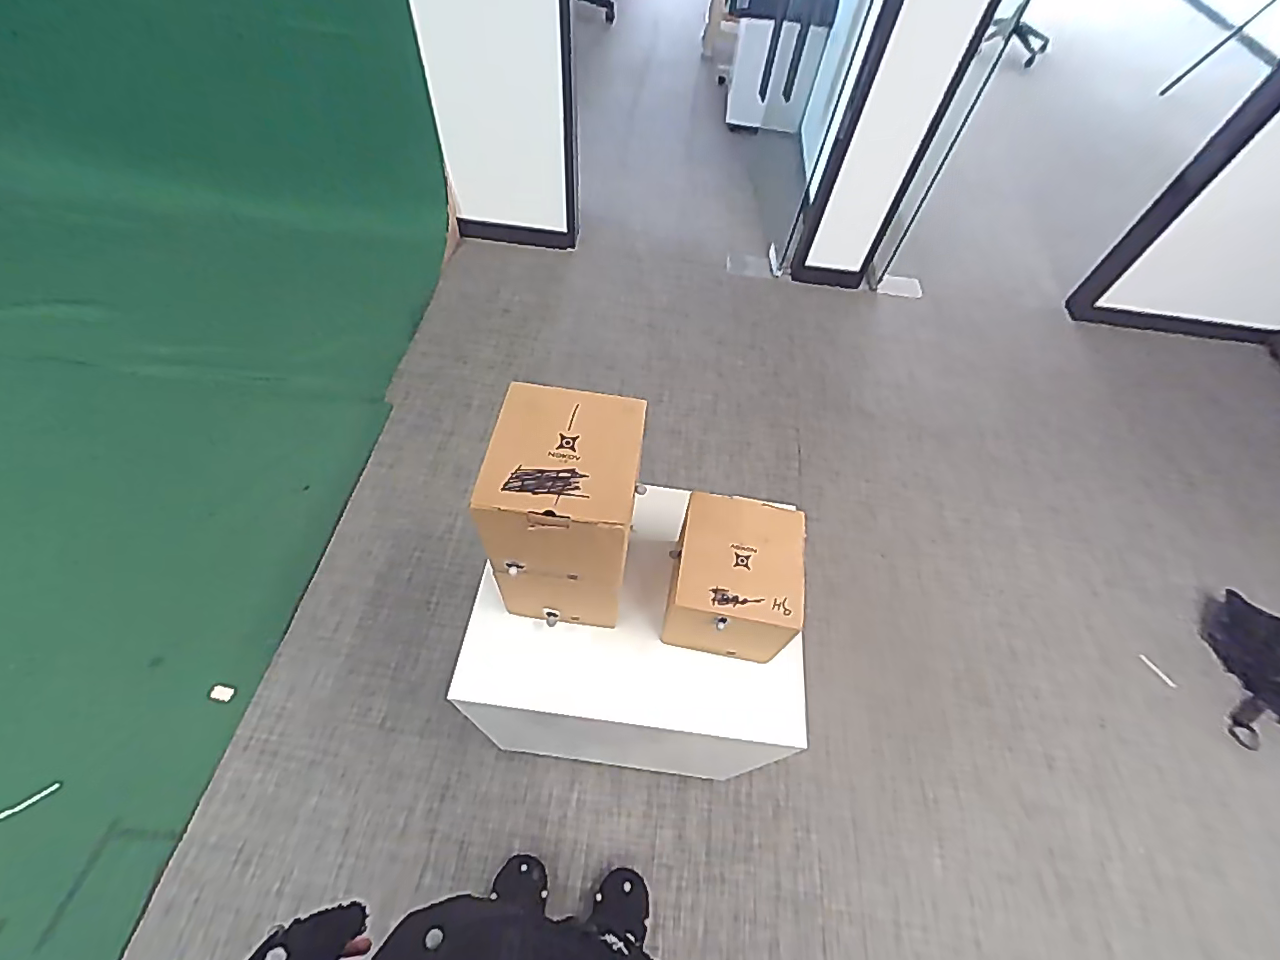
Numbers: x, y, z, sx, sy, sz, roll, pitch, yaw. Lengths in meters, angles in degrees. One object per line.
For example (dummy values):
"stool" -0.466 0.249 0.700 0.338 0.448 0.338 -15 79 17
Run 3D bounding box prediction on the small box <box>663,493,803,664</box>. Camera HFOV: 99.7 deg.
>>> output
"small box" 0.132 0.148 0.796 0.168 0.176 0.179 11 56 3

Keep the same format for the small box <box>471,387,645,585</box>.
"small box" -0.090 0.014 0.670 0.168 0.176 0.179 8 56 1

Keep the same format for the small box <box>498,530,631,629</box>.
"small box" -0.101 0.105 0.807 0.168 0.176 0.179 6 58 0
